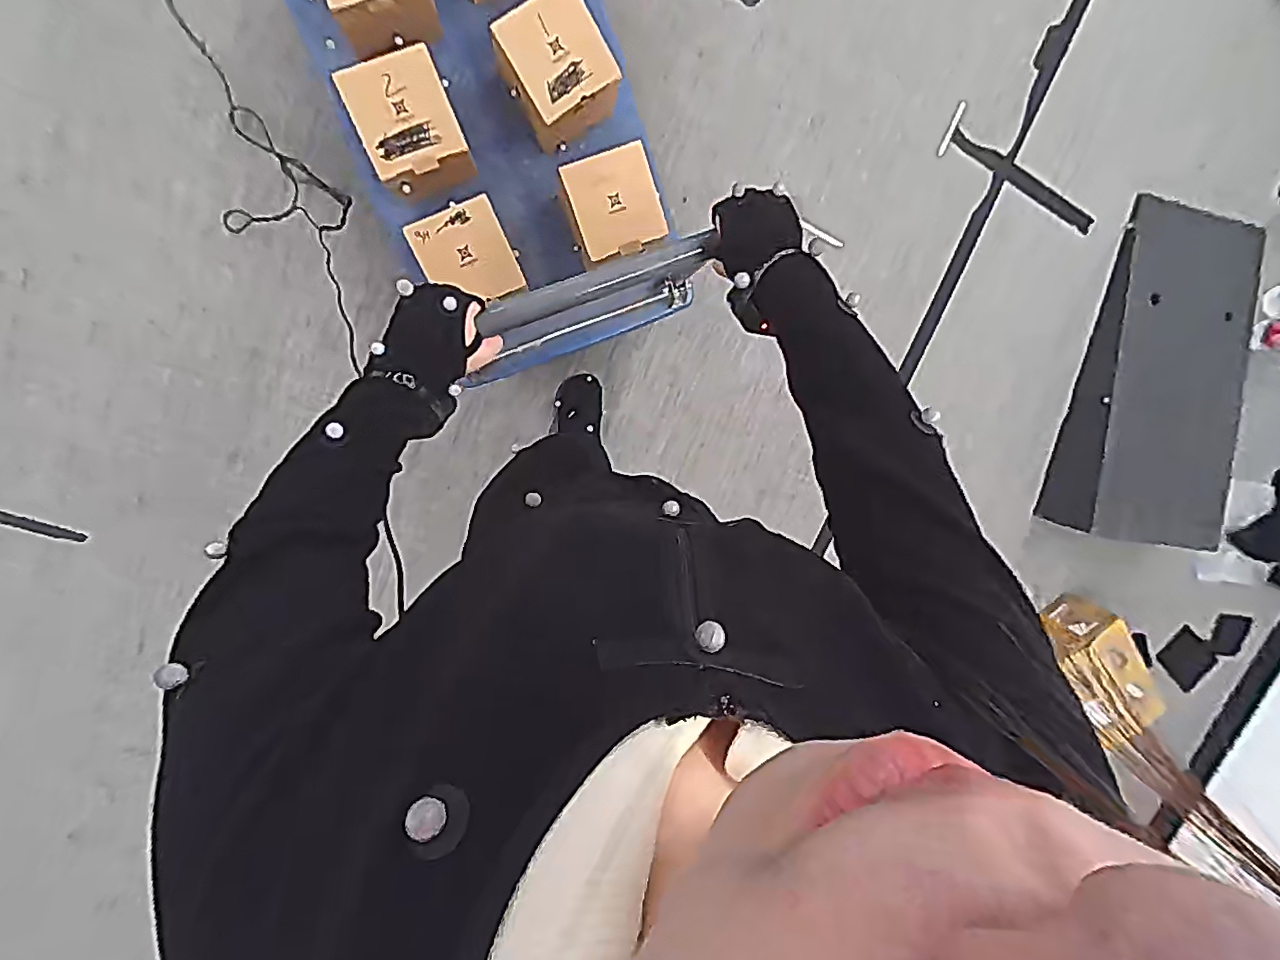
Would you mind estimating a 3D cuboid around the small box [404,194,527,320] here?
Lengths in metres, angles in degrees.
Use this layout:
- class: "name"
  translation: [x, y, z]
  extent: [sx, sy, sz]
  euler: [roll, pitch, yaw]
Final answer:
- class: "small box"
  translation: [-0.334, -0.432, 1.074]
  extent: [0.168, 0.176, 0.179]
  euler: [-26, 107, -5]

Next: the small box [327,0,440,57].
- class: "small box"
  translation: [-0.469, -0.892, 0.940]
  extent: [0.168, 0.176, 0.179]
  euler: [-20, 107, -5]

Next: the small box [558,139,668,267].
- class: "small box"
  translation: [-0.060, -0.547, 1.098]
  extent: [0.168, 0.176, 0.179]
  euler: [-21, 105, -5]

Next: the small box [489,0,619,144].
- class: "small box"
  translation: [-0.160, -0.774, 1.025]
  extent: [0.168, 0.176, 0.179]
  euler: [-33, 106, -1]
